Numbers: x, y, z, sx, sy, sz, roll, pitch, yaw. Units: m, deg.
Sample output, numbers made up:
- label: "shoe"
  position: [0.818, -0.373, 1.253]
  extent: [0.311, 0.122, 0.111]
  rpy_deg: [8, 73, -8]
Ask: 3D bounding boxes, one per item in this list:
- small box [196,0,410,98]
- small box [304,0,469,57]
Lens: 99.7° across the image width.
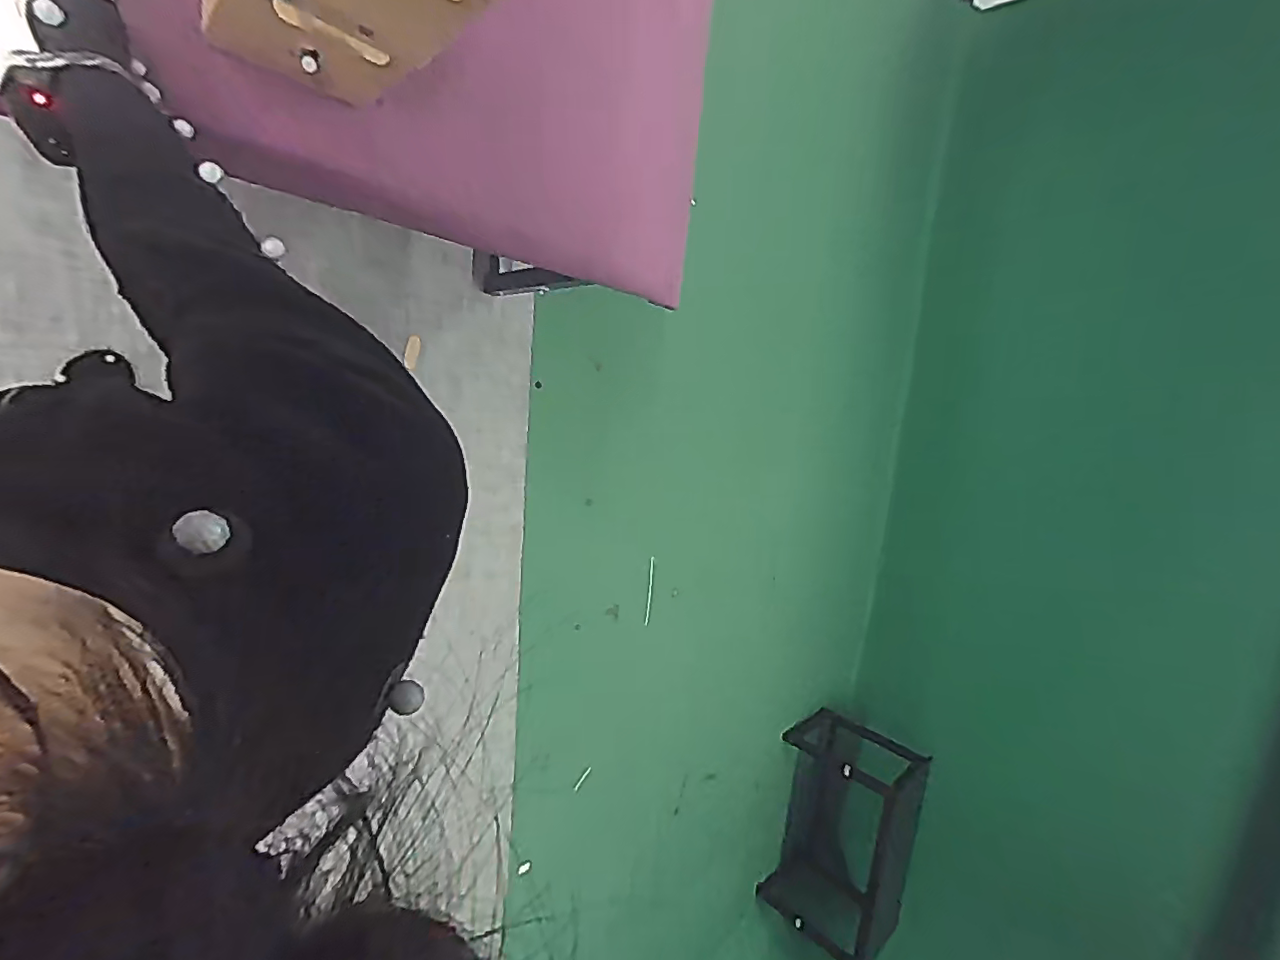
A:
- label: "small box"
  position: [-0.346, -0.540, 0.559]
  extent: [0.168, 0.176, 0.179]
  rpy_deg: [-2, 102, -46]
- label: "small box"
  position: [-0.230, -0.505, 0.446]
  extent: [0.168, 0.176, 0.179]
  rpy_deg: [-2, 100, -45]
